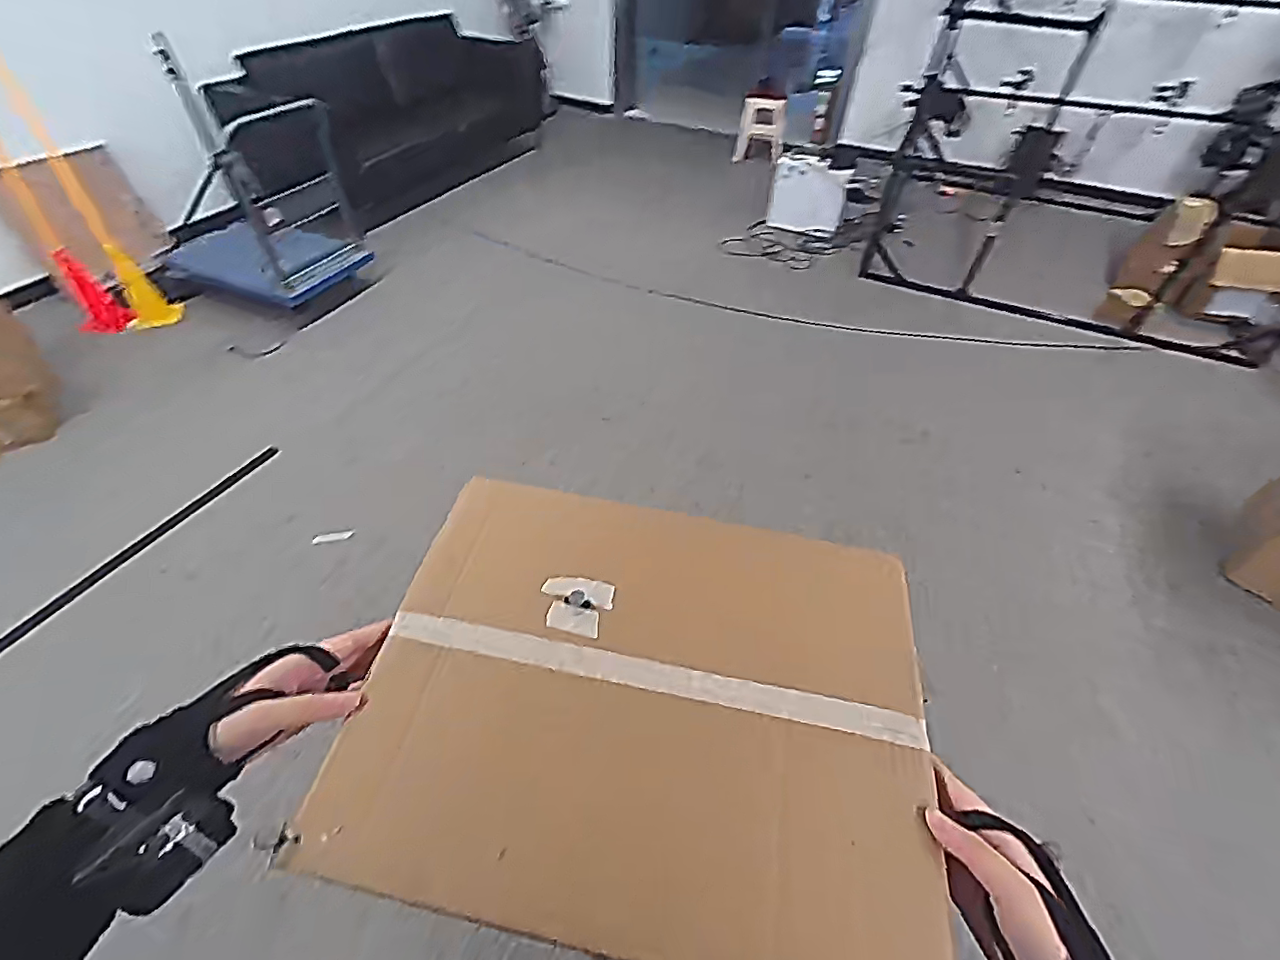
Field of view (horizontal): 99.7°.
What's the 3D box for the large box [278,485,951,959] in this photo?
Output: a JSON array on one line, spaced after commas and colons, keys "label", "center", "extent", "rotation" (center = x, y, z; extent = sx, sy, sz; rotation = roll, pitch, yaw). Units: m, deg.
[{"label": "large box", "center": [0.001, 0.242, 0.513], "extent": [0.408, 0.320, 0.320], "rotation": [9, 50, 6]}]
